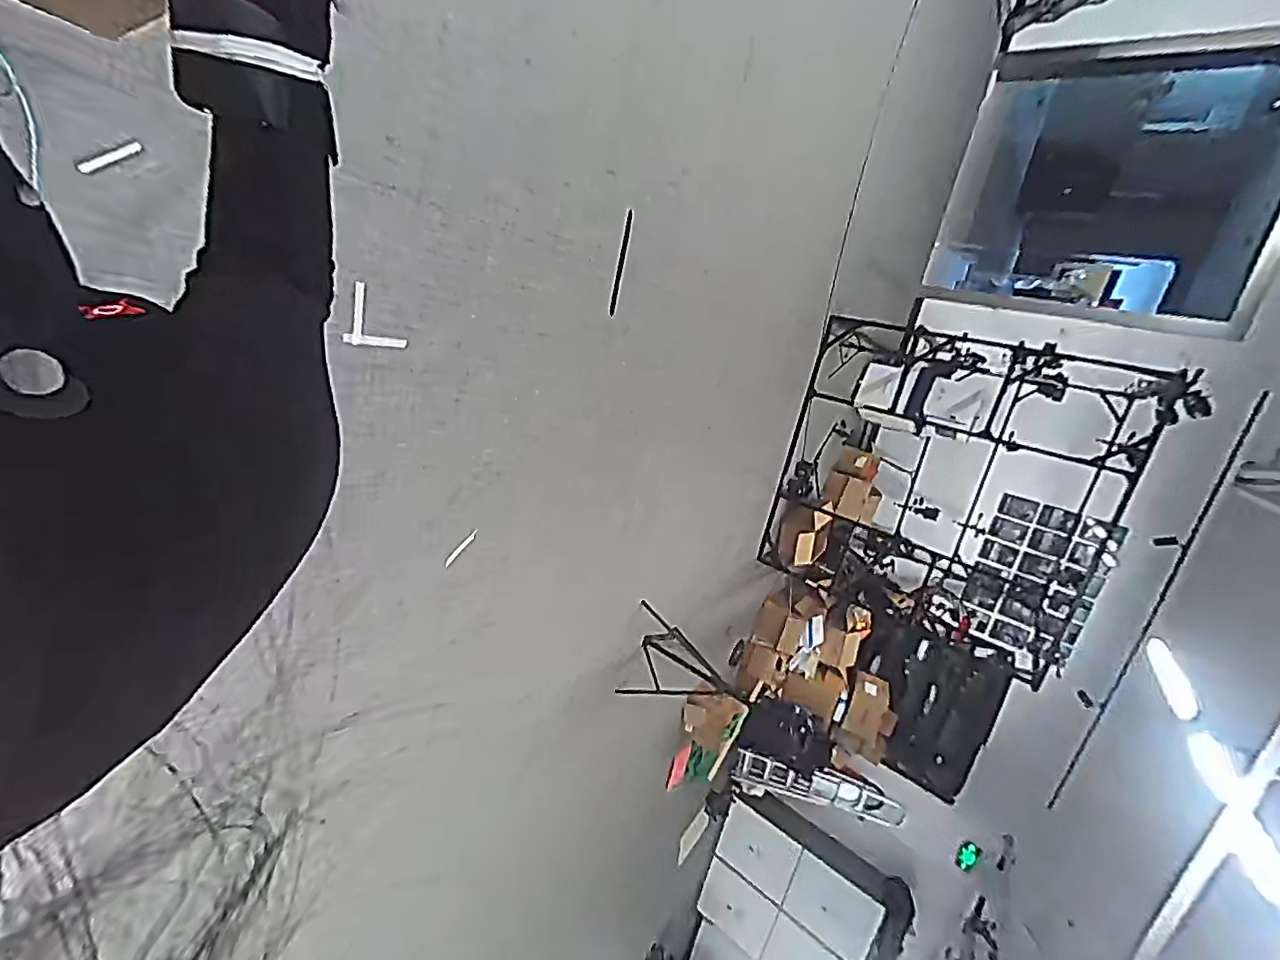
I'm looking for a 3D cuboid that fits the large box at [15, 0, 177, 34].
[{"bbox_3d":[-0.442,-0.472,0.206,0.408,0.320,0.320,-5,115,-54],"label":"large box"}]
